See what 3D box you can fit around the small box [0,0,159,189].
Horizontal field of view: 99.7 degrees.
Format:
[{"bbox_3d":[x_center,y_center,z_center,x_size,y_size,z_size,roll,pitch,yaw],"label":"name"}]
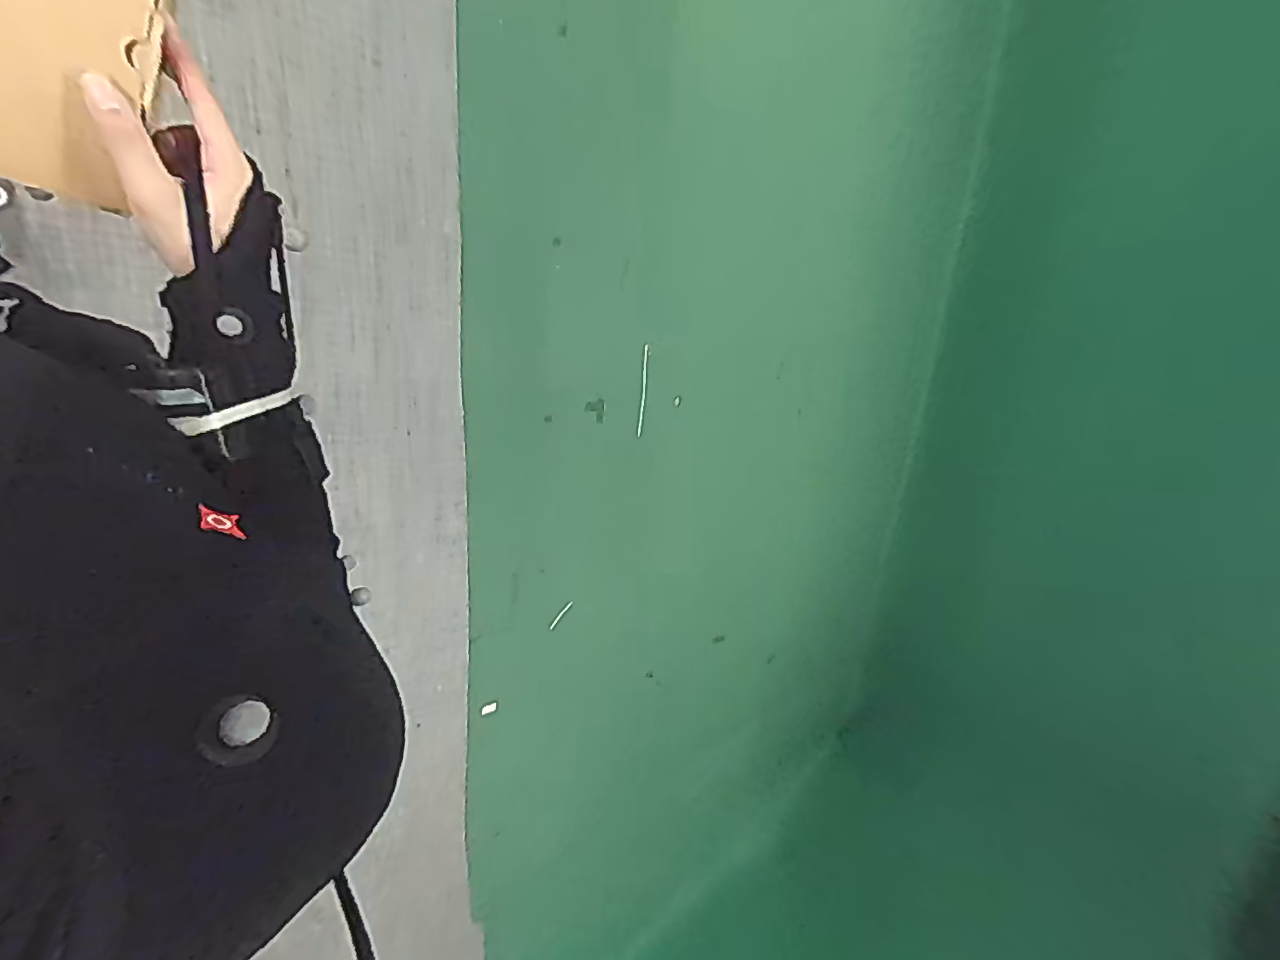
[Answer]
[{"bbox_3d":[-0.350,-0.276,0.256,0.179,0.176,0.168,7,122,-43],"label":"small box"}]
